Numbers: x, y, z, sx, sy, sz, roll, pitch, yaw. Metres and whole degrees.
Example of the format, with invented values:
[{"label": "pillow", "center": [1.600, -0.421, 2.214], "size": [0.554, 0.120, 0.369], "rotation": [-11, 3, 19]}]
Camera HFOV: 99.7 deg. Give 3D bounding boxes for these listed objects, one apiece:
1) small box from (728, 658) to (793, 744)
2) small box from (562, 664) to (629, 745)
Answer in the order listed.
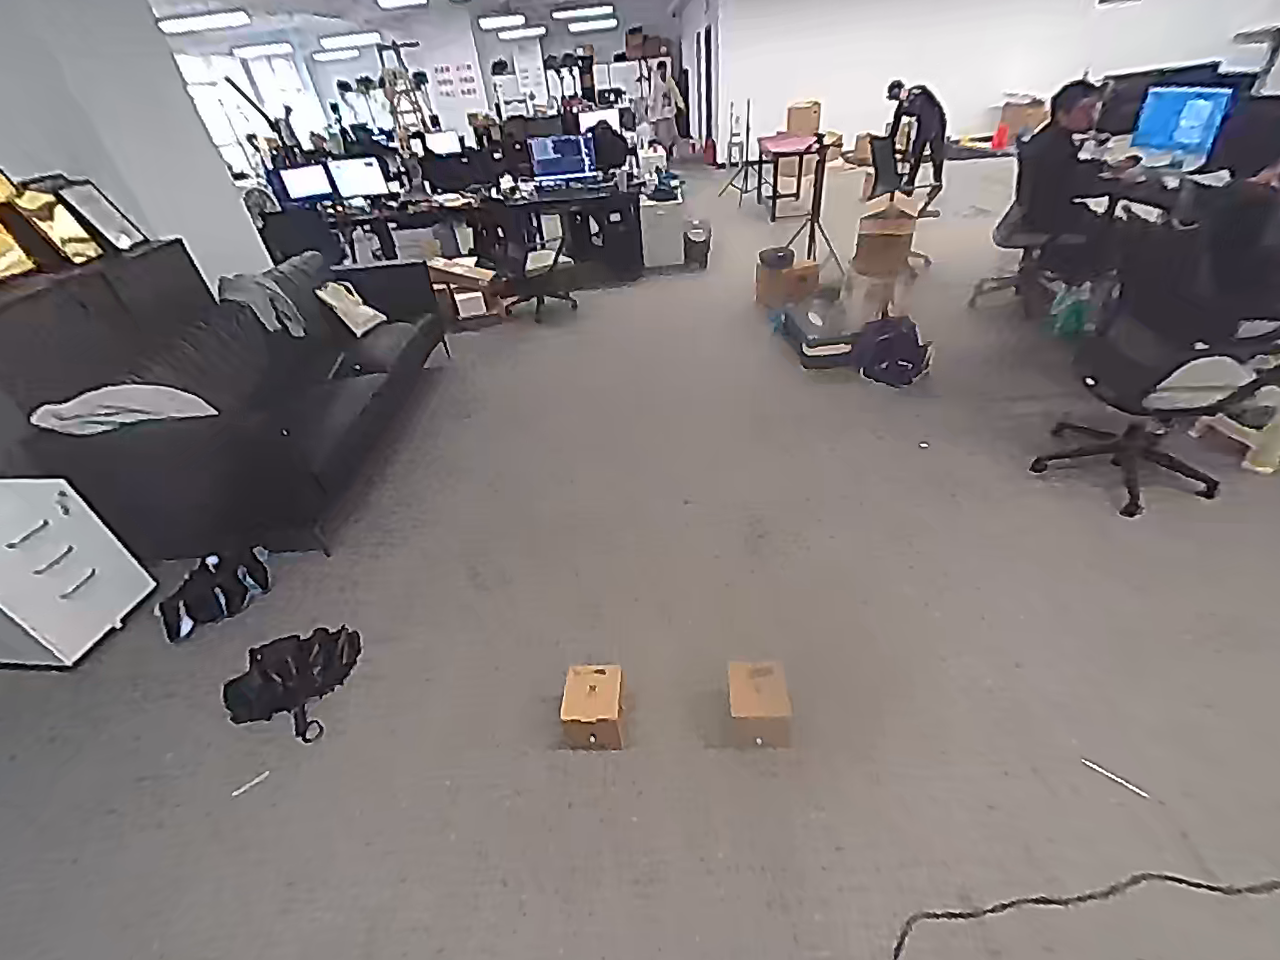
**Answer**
[{"label": "small box", "center": [0.347, 0.648, 1.589], "size": [0.168, 0.176, 0.179], "rotation": [-3, 38, 6]}, {"label": "small box", "center": [-0.127, 0.678, 1.628], "size": [0.168, 0.176, 0.179], "rotation": [-3, 37, 5]}]
